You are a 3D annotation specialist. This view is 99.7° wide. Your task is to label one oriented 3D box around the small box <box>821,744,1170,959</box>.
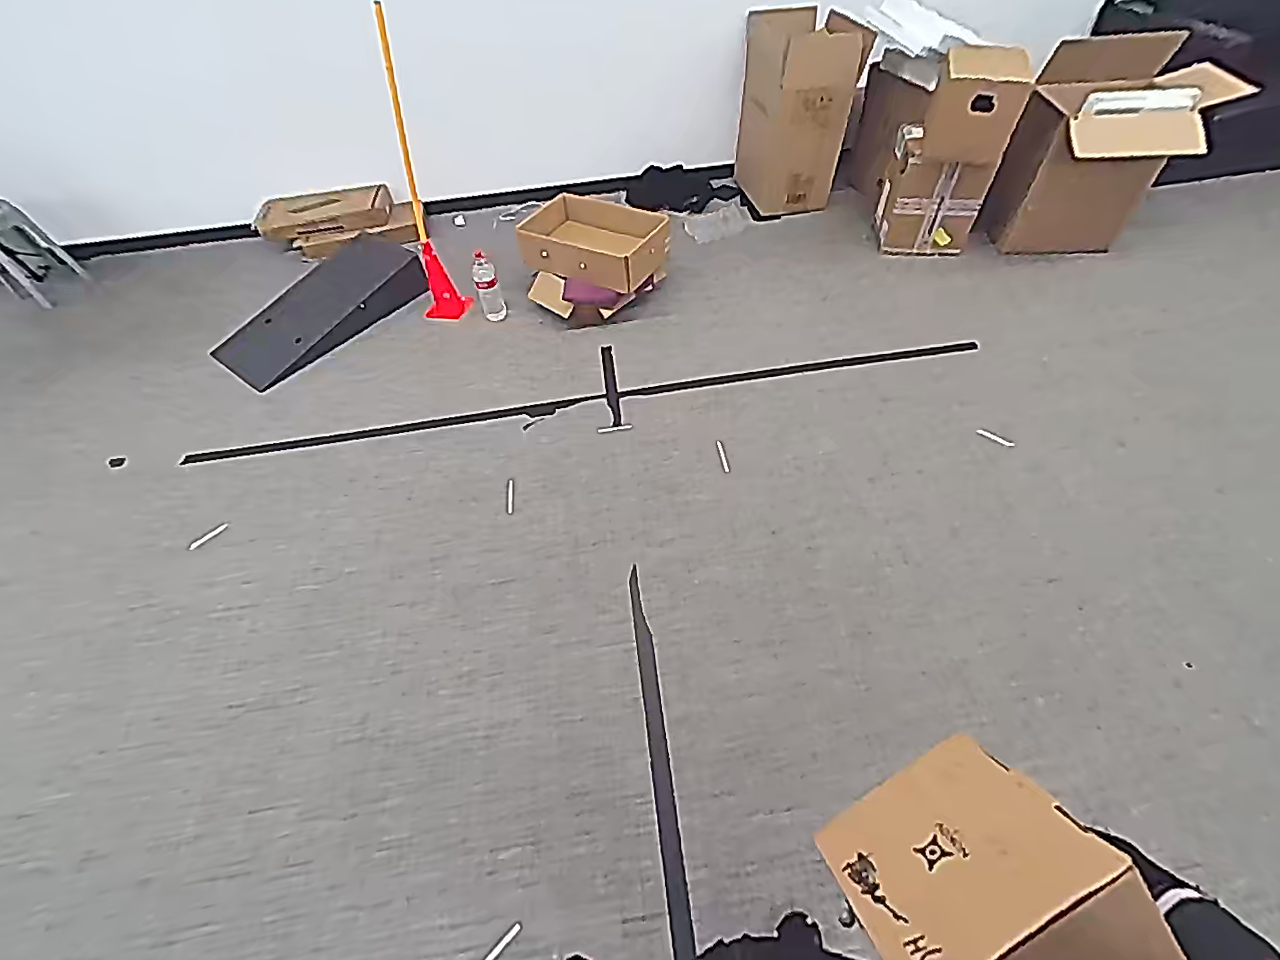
[{"bbox_3d":[0.293,0.373,0.450,0.179,0.168,0.176,-32,95,-3],"label":"small box"}]
